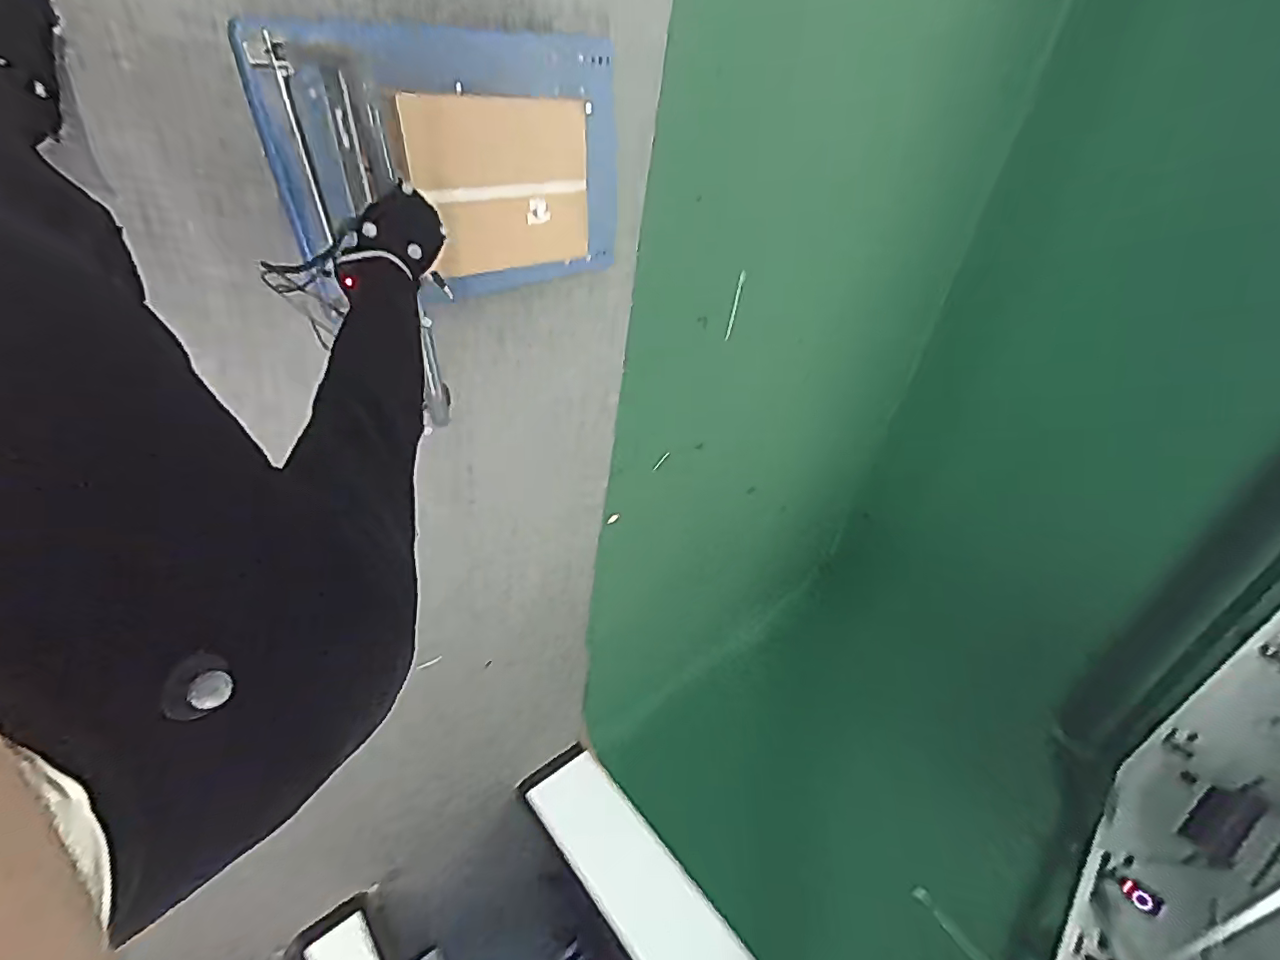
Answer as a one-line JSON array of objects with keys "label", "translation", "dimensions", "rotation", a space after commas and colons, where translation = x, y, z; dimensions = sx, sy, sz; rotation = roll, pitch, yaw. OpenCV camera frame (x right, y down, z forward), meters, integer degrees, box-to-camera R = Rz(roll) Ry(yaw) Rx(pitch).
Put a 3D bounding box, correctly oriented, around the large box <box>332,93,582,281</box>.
[{"label": "large box", "translation": [-0.383, -0.665, 1.196], "dimensions": [0.408, 0.320, 0.320], "rotation": [-26, 136, -34]}]
